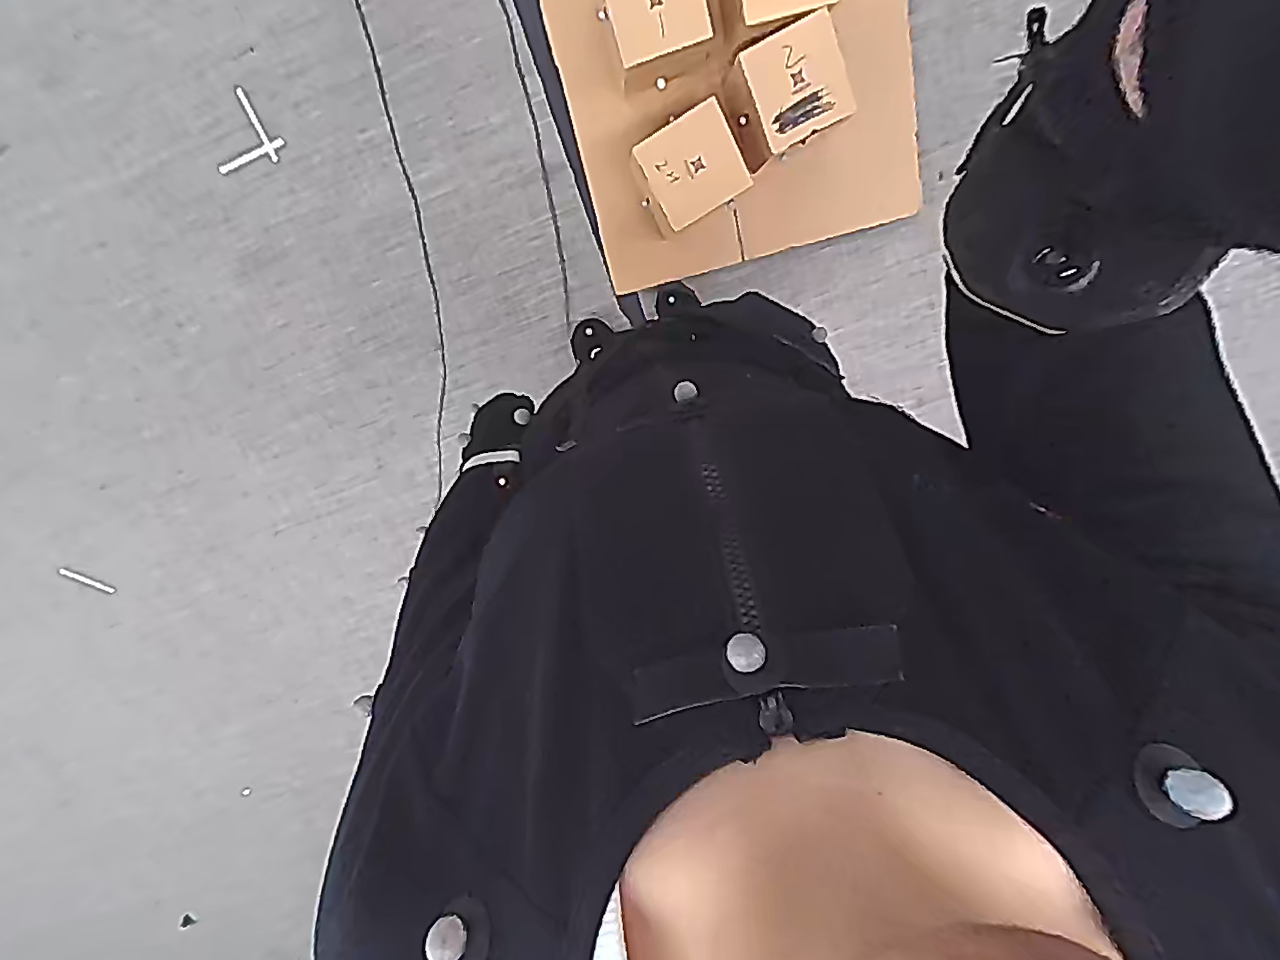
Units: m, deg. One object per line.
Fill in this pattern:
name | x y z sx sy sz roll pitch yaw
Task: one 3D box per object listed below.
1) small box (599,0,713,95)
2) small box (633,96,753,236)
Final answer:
small box | 0.022 -0.854 0.992 0.168 0.176 0.179 -17 110 4
small box | 0.097 -0.613 1.080 0.179 0.176 0.168 -28 107 8
